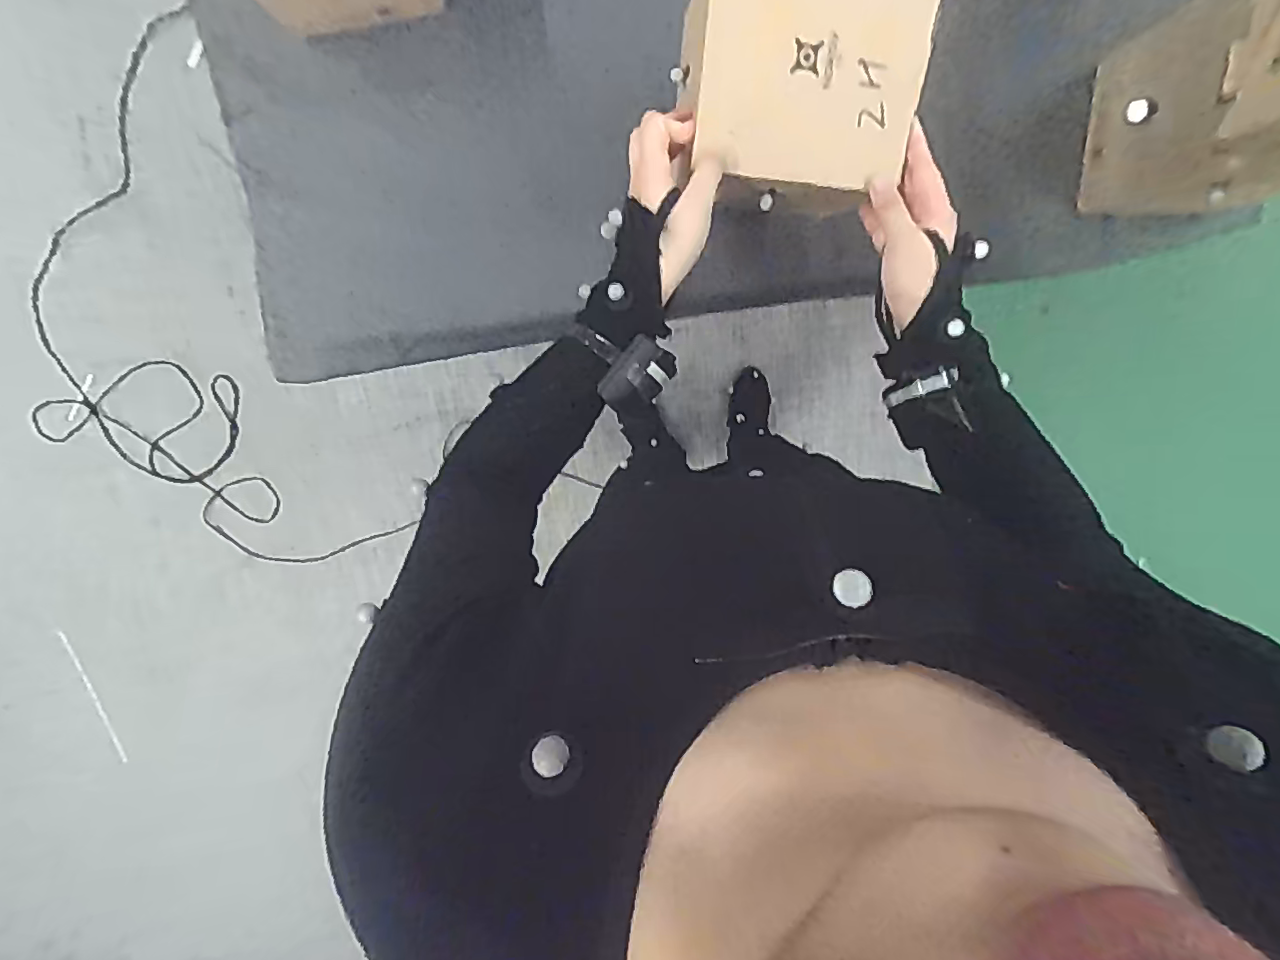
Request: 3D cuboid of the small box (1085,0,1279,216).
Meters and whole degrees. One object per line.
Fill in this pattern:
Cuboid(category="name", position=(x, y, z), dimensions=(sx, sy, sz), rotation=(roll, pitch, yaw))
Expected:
Cuboid(category="small box", position=(0.619, -0.384, 0.563), dimensions=(0.179, 0.176, 0.168), rotation=(-2, 103, -1))

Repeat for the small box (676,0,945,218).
Cuboid(category="small box", position=(0.131, -0.339, 0.485), dimensions=(0.179, 0.176, 0.168), rotation=(4, 111, -4))

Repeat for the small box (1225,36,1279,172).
Cuboid(category="small box", position=(0.630, -0.332, 0.408), dimensions=(0.179, 0.176, 0.168), rotation=(19, 101, -7))
